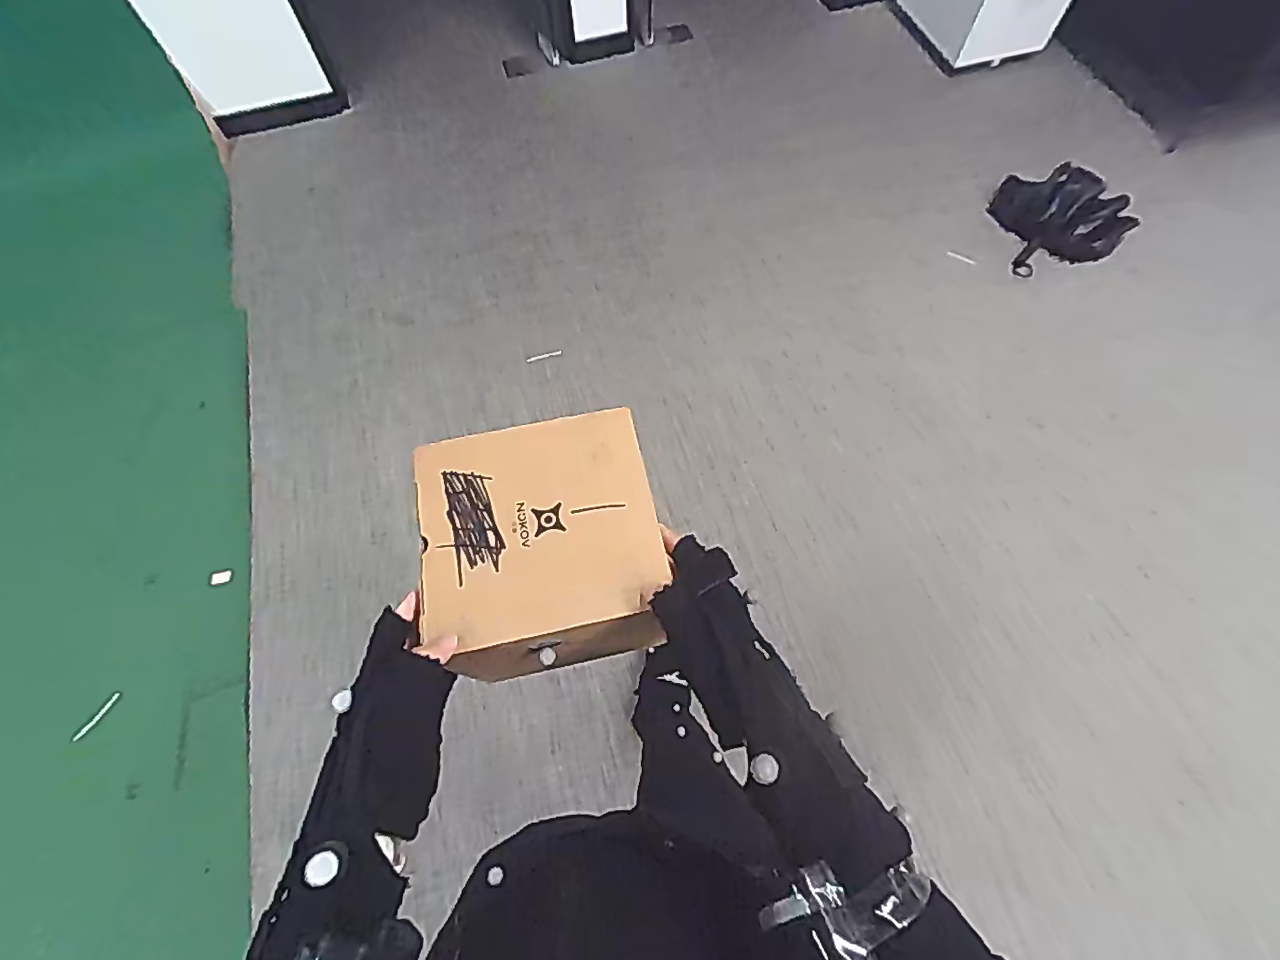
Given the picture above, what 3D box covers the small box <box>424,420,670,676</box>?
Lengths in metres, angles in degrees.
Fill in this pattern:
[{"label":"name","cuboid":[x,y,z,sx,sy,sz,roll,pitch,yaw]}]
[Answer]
[{"label":"small box","cuboid":[-0.077,0.071,0.491,0.179,0.176,0.168,-11,65,-6]}]
